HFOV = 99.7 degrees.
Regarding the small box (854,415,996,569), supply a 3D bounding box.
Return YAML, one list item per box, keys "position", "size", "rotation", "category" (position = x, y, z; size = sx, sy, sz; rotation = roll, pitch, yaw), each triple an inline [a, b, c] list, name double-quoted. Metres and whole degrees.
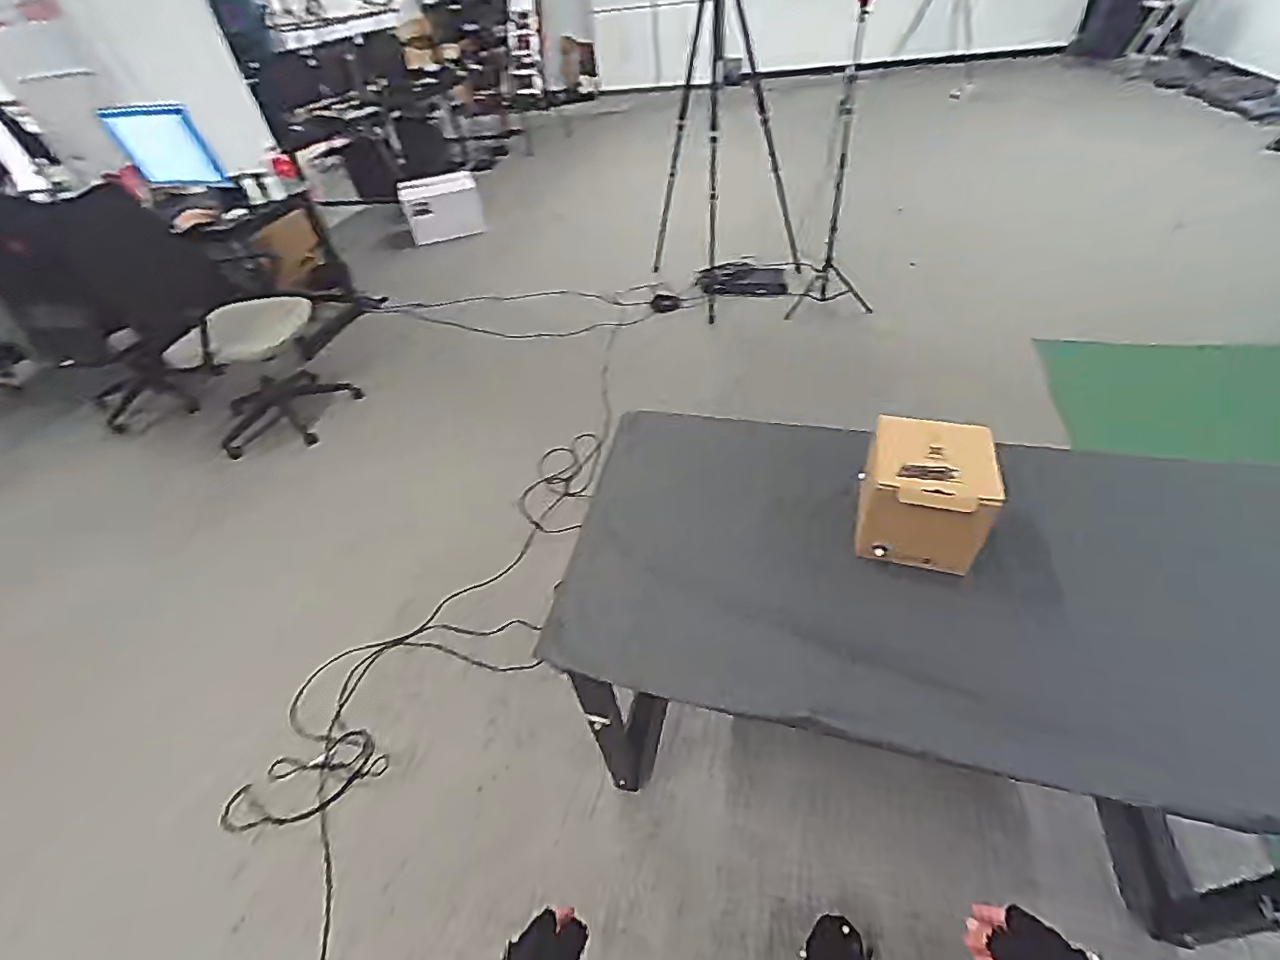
- position: [0.450, 0.020, 0.876]
  size: [0.168, 0.176, 0.179]
  rotation: [9, 46, 17]
  category: "small box"
